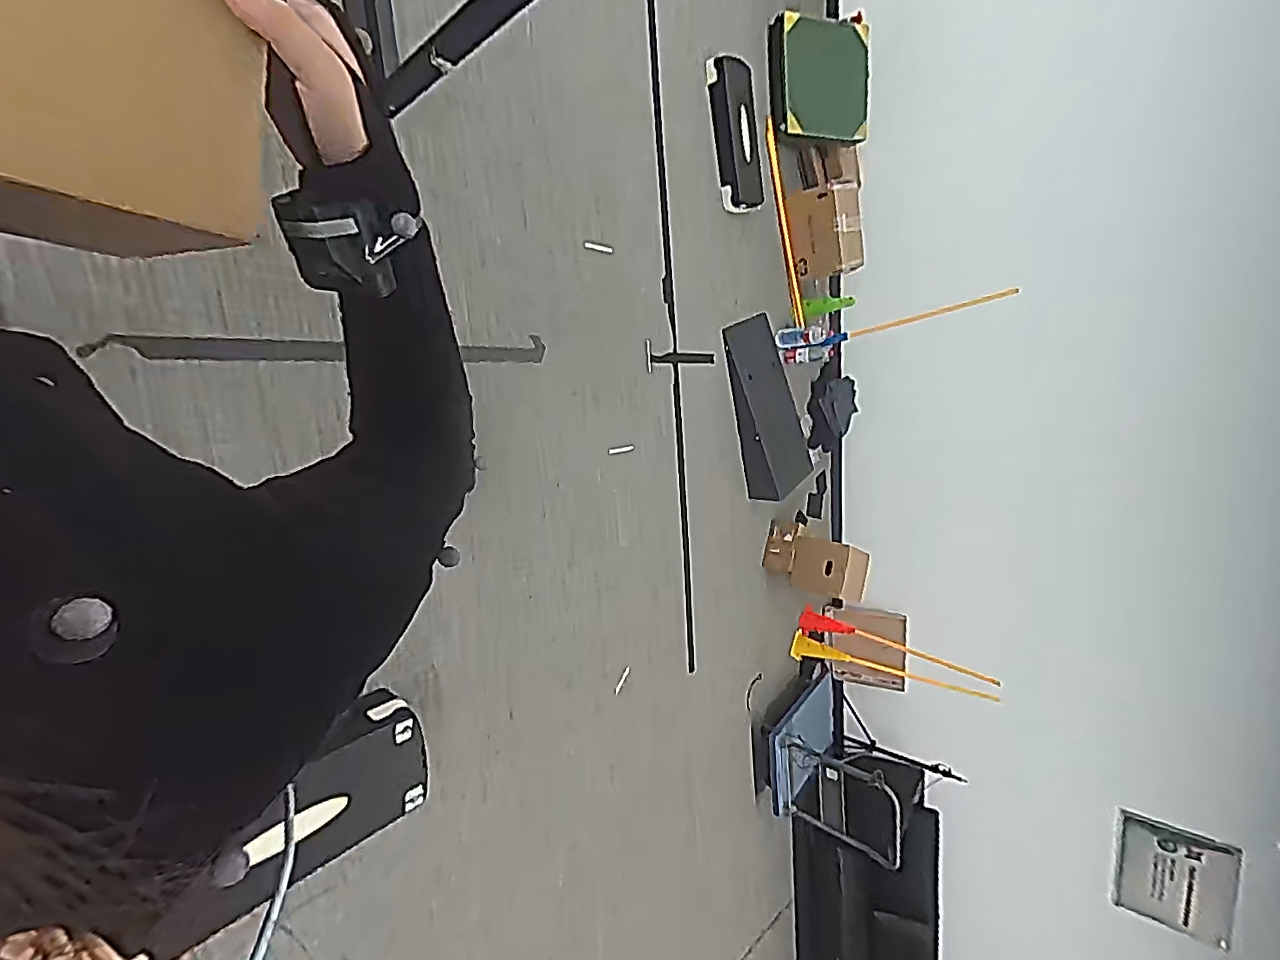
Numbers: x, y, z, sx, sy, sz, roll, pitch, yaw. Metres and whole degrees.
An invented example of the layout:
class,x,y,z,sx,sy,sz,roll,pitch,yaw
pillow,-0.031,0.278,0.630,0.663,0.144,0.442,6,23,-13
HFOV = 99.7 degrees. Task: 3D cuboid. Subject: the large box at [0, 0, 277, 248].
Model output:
class,x,y,z,sx,sy,sz,roll,pitch,yaw
large box,-0.410,-0.299,0.196,0.408,0.320,0.320,-3,104,-52
